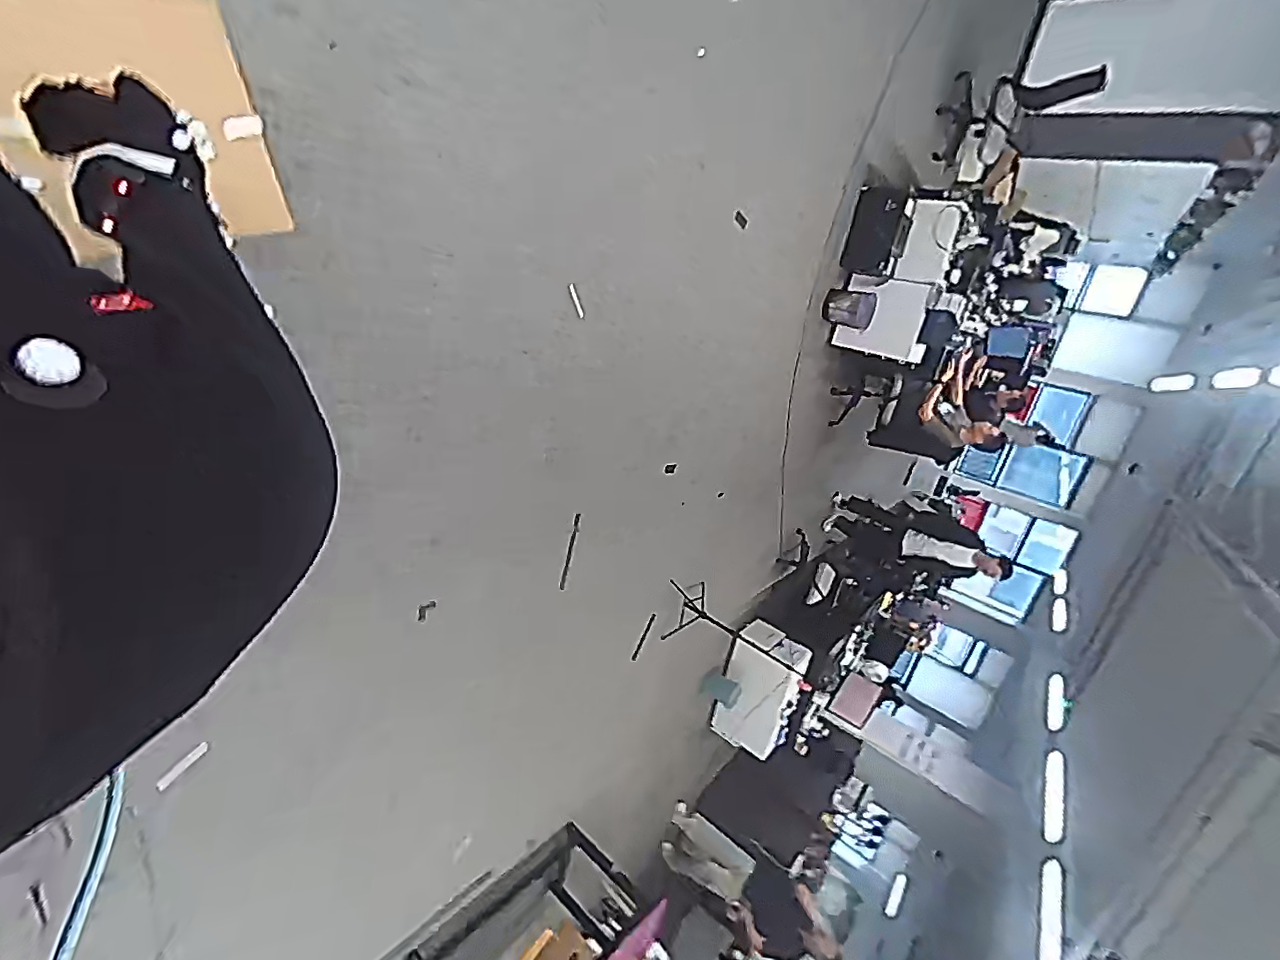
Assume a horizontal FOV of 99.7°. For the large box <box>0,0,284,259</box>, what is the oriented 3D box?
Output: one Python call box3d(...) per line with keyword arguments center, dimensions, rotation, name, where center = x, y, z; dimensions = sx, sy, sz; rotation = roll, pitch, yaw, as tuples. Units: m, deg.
box3d(center=(-0.851, -0.561, 0.867), dimensions=(0.320, 0.408, 0.320), rotation=(-31, 132, -37), name="large box")
